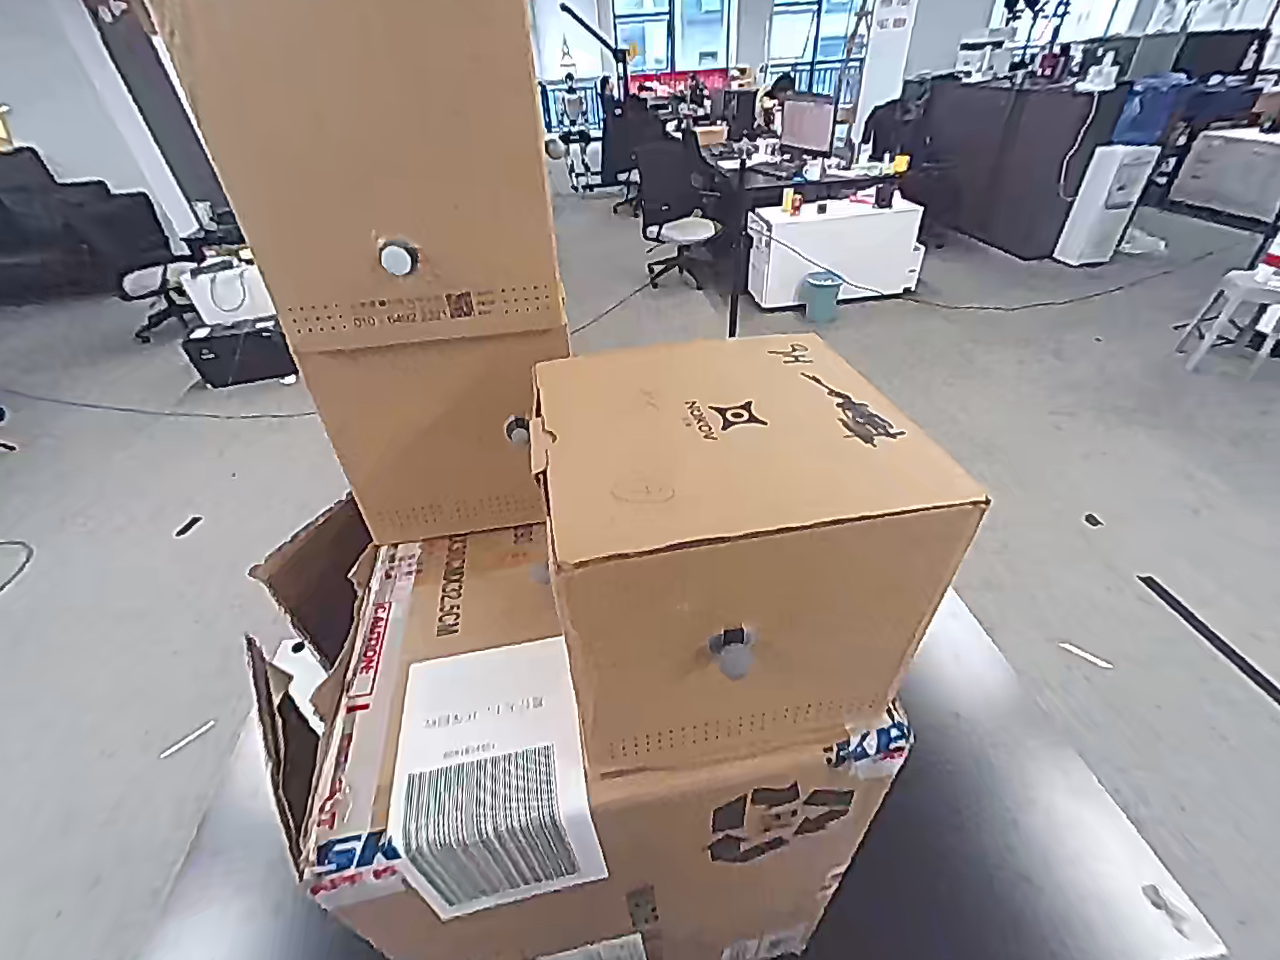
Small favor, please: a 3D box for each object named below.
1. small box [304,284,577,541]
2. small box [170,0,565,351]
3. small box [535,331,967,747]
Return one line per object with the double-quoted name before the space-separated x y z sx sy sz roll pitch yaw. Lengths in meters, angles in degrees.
"small box" -0.141 -0.070 0.466 0.179 0.176 0.168 -9 35 -7
"small box" -0.145 -0.200 0.365 0.168 0.176 0.179 -8 36 -7
"small box" 0.041 0.032 0.322 0.179 0.176 0.168 -9 41 -7
